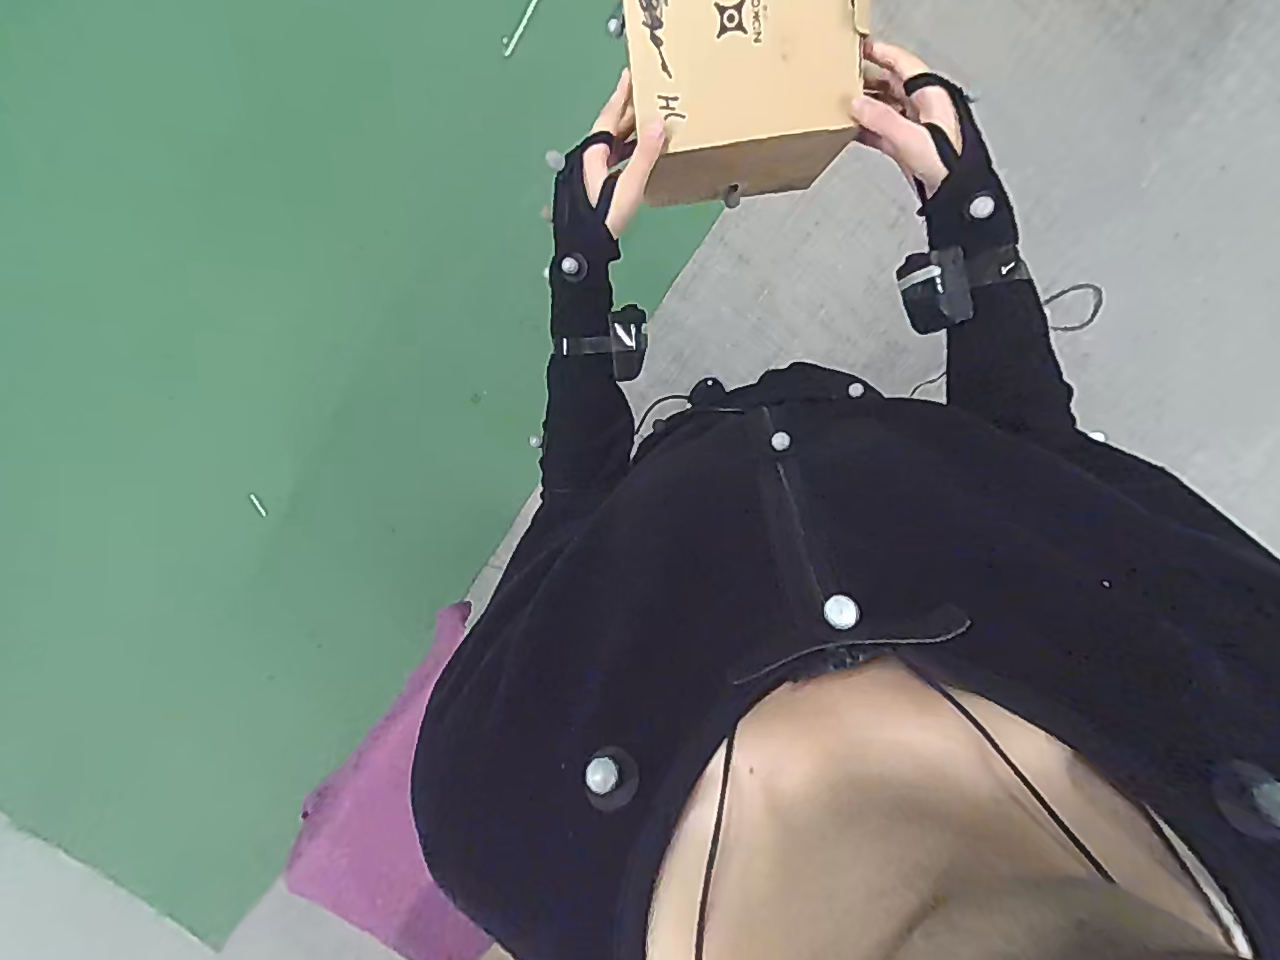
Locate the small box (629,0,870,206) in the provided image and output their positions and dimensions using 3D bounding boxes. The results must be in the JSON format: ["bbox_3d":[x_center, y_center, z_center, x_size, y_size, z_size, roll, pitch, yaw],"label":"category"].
[{"bbox_3d":[0.083,-0.358,0.475,0.179,0.176,0.168,-5,101,4],"label":"small box"}]
